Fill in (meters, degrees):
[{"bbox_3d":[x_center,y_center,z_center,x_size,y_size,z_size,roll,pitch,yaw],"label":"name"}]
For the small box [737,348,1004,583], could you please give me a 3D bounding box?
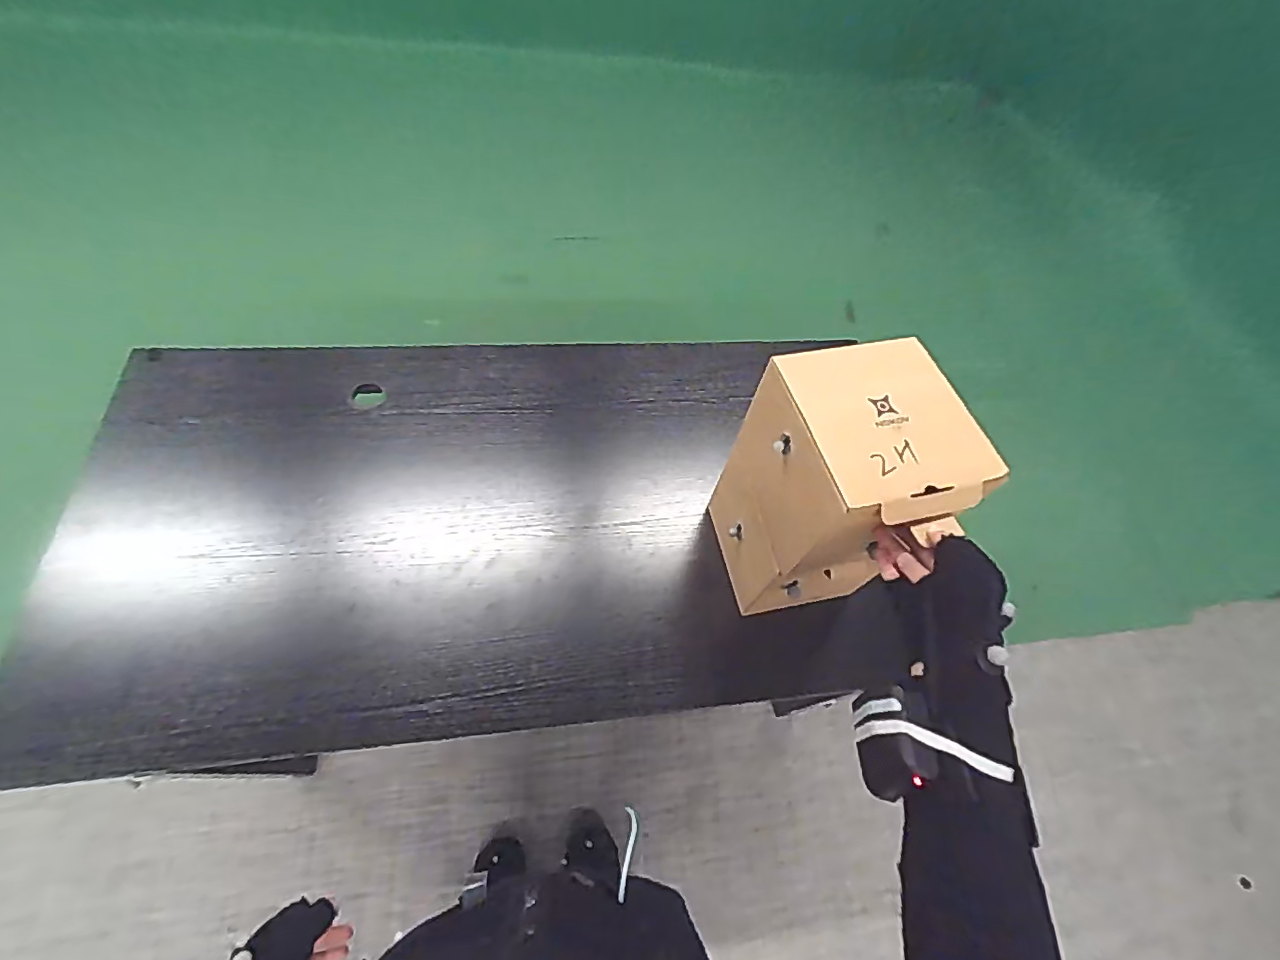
[{"bbox_3d":[0.220,-0.012,0.575,0.168,0.176,0.179,-10,62,-12],"label":"small box"}]
